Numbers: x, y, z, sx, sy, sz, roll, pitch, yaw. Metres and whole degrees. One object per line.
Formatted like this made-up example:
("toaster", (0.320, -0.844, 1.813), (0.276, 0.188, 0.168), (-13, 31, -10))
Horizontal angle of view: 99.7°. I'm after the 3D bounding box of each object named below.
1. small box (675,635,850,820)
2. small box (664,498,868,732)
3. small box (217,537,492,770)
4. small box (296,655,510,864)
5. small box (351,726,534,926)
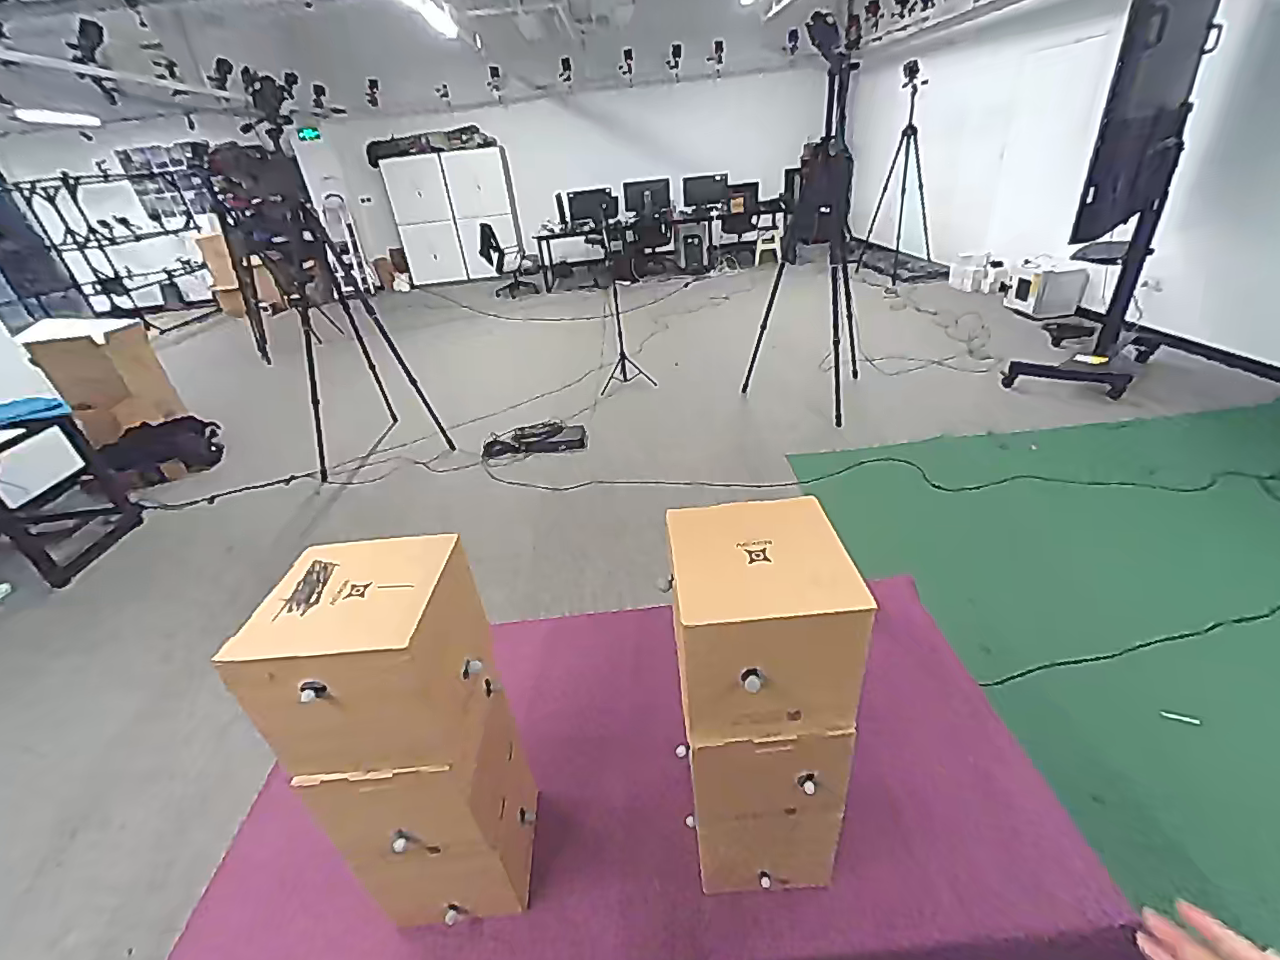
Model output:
("small box", (0.136, 0.280, 0.649), (0.168, 0.176, 0.179), (-6, 31, 1))
("small box", (0.118, 0.142, 0.566), (0.168, 0.176, 0.179), (-6, 31, 1))
("small box", (-0.274, 0.181, 0.570), (0.179, 0.176, 0.168), (-5, 31, 1))
("small box", (-0.264, 0.322, 0.654), (0.168, 0.176, 0.179), (-7, 31, 1))
("small box", (-0.248, 0.466, 0.734), (0.179, 0.176, 0.168), (-6, 30, -1))
